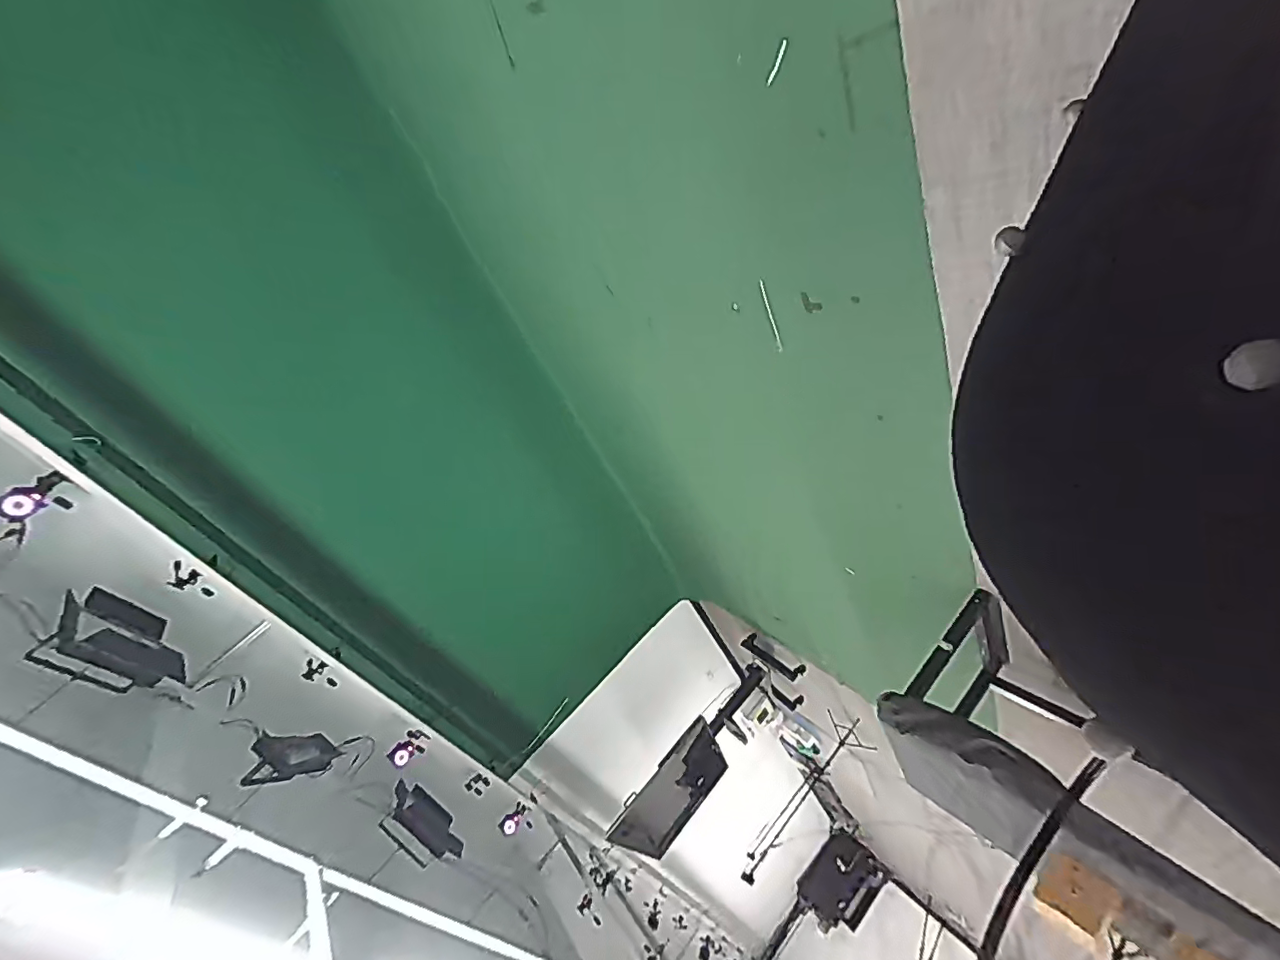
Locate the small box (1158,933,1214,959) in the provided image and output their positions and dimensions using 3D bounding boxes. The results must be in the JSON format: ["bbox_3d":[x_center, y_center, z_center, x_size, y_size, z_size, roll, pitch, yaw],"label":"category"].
[{"bbox_3d":[1.515,1.389,1.459,0.179,0.176,0.168,22,149,55],"label":"small box"}]

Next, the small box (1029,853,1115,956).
[{"bbox_3d":[1.349,1.318,1.691,0.168,0.176,0.179,22,149,52],"label":"small box"}]
